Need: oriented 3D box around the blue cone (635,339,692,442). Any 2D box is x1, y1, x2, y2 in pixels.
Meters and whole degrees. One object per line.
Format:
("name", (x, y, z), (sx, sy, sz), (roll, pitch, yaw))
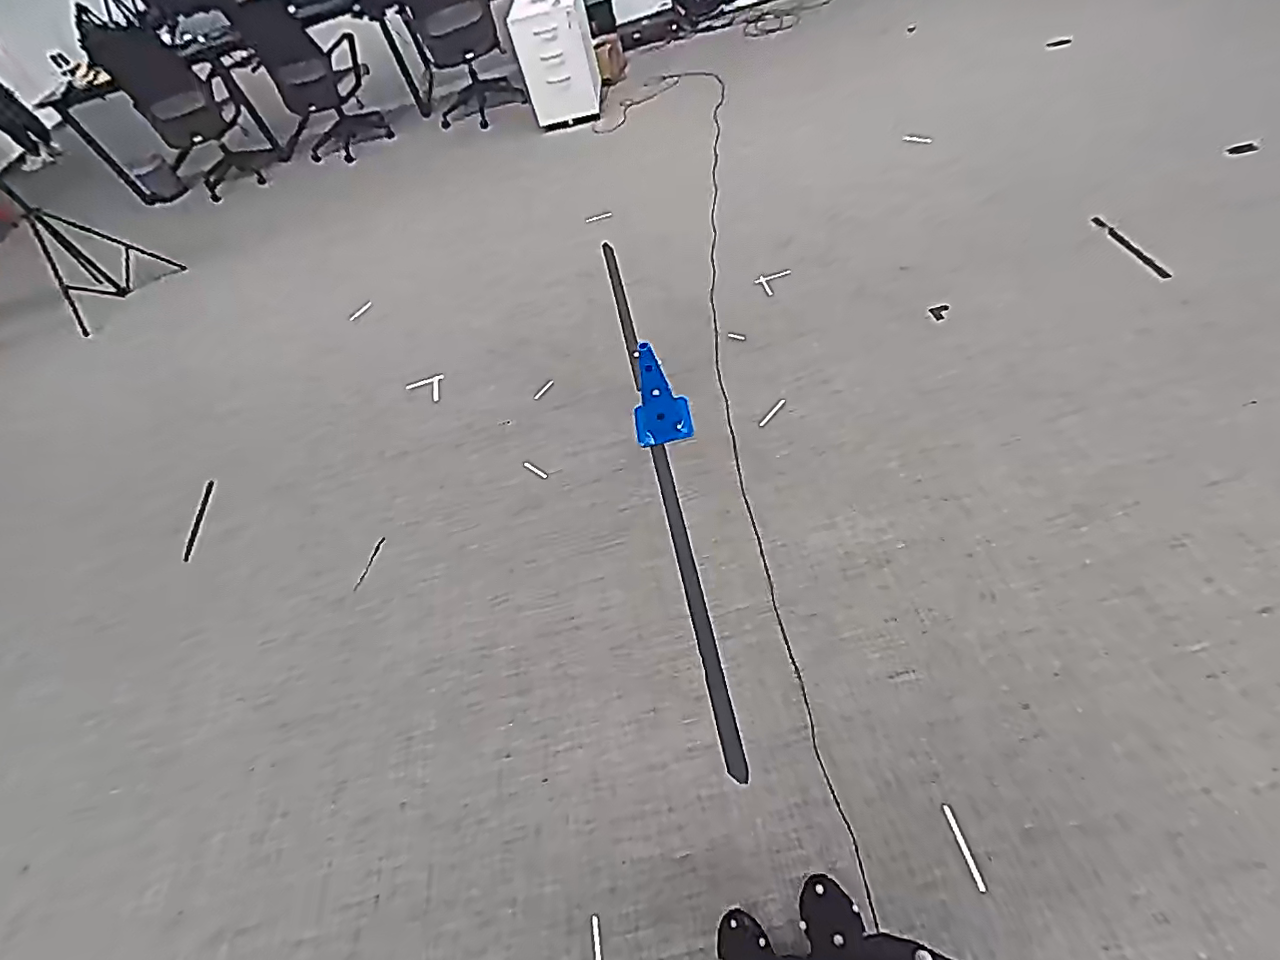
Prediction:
("blue cone", (0.047, -0.317, 1.797), (0.193, 0.380, 0.192), (-12, 53, 5))
